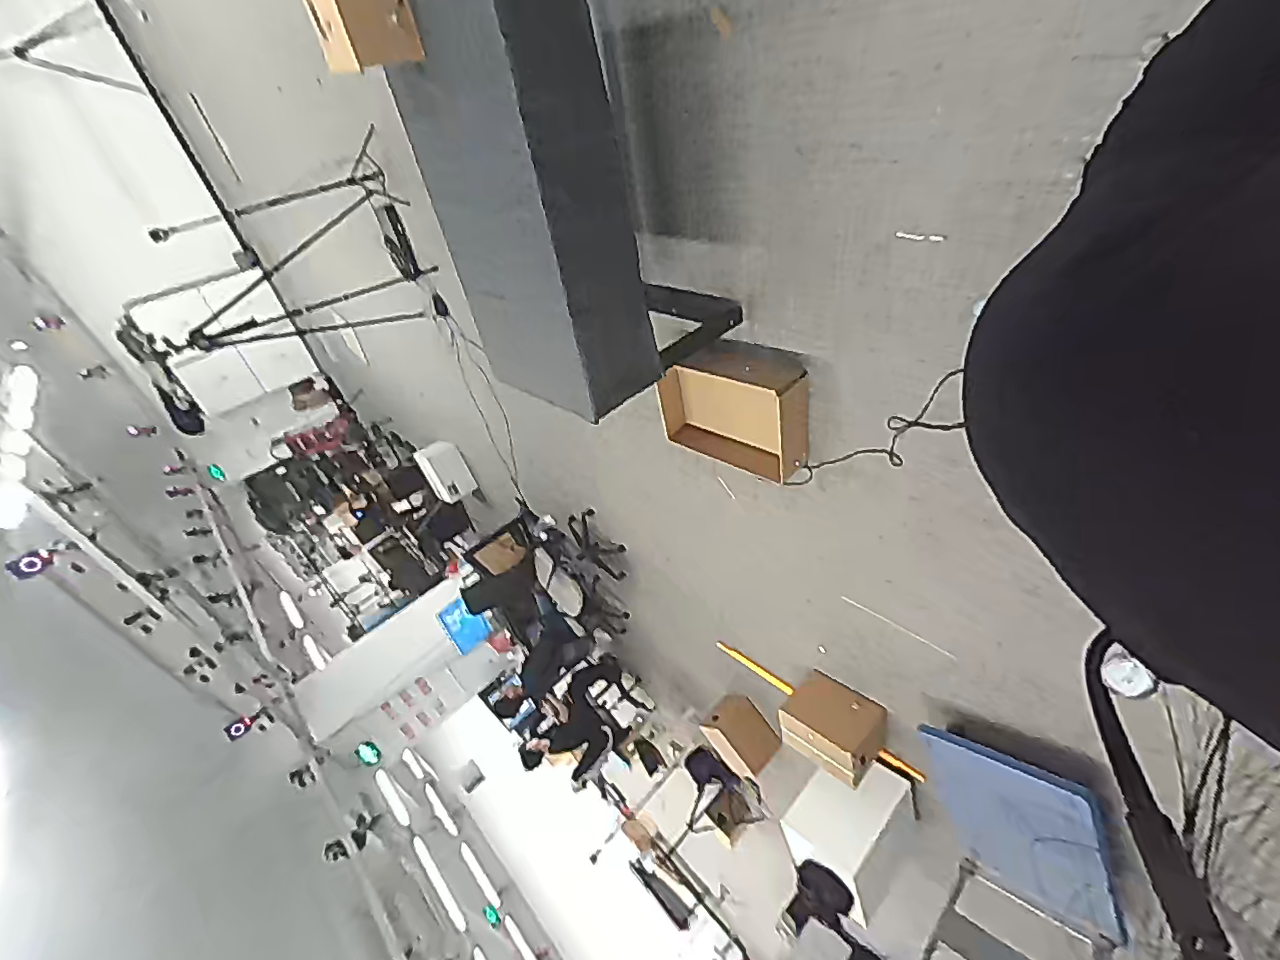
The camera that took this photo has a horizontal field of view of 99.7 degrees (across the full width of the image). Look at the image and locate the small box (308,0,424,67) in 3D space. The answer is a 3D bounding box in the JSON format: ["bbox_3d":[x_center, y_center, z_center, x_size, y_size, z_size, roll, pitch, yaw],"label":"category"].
[{"bbox_3d":[-0.624,-1.052,1.225,0.179,0.176,0.168,30,144,36],"label":"small box"}]
